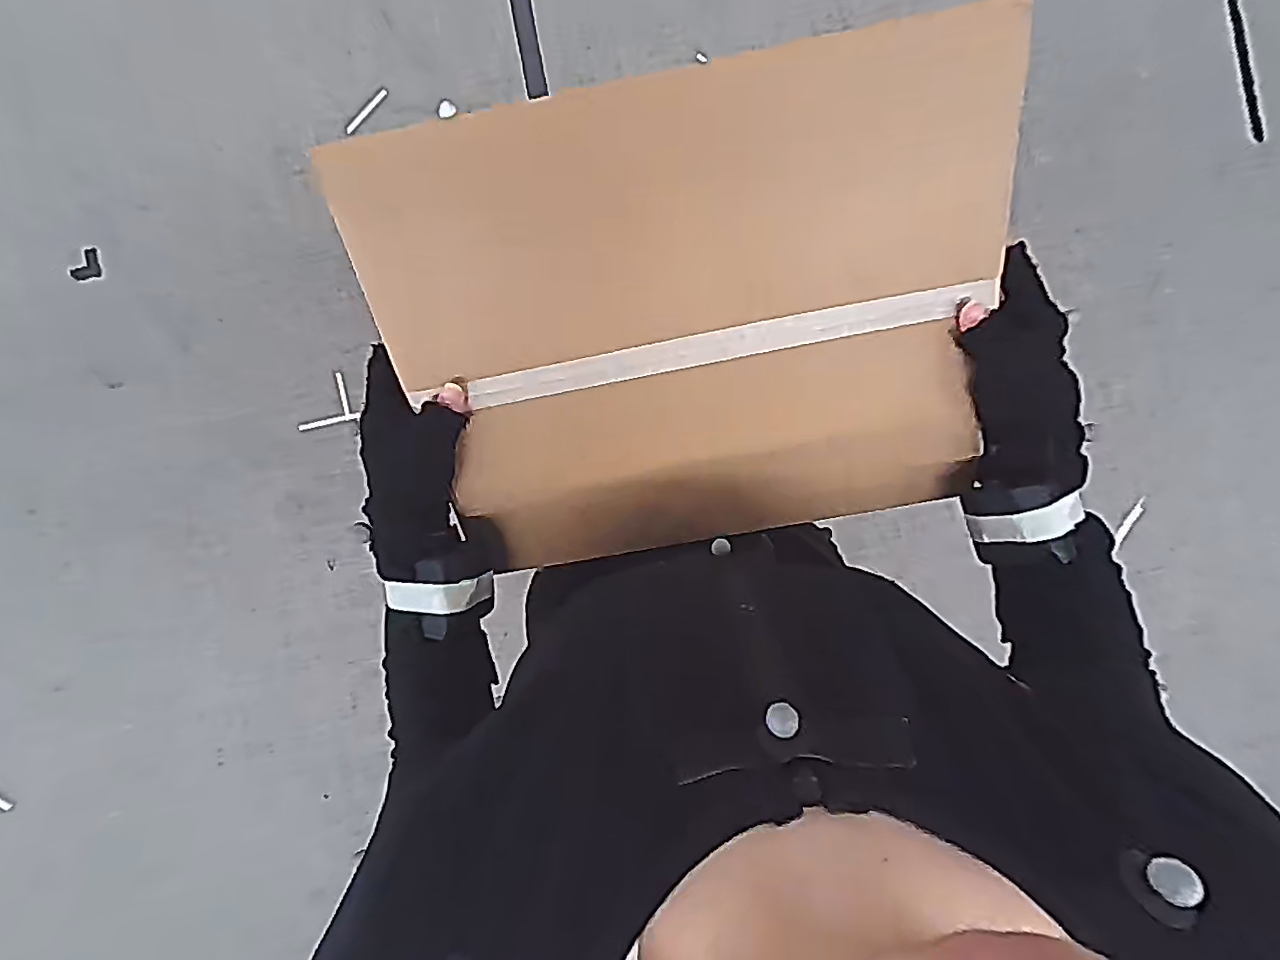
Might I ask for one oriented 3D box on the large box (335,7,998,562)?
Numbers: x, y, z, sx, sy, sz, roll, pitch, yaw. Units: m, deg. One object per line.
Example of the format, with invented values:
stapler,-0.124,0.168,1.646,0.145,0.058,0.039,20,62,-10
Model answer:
large box,0.028,-0.165,0.514,0.408,0.320,0.320,-10,119,3
